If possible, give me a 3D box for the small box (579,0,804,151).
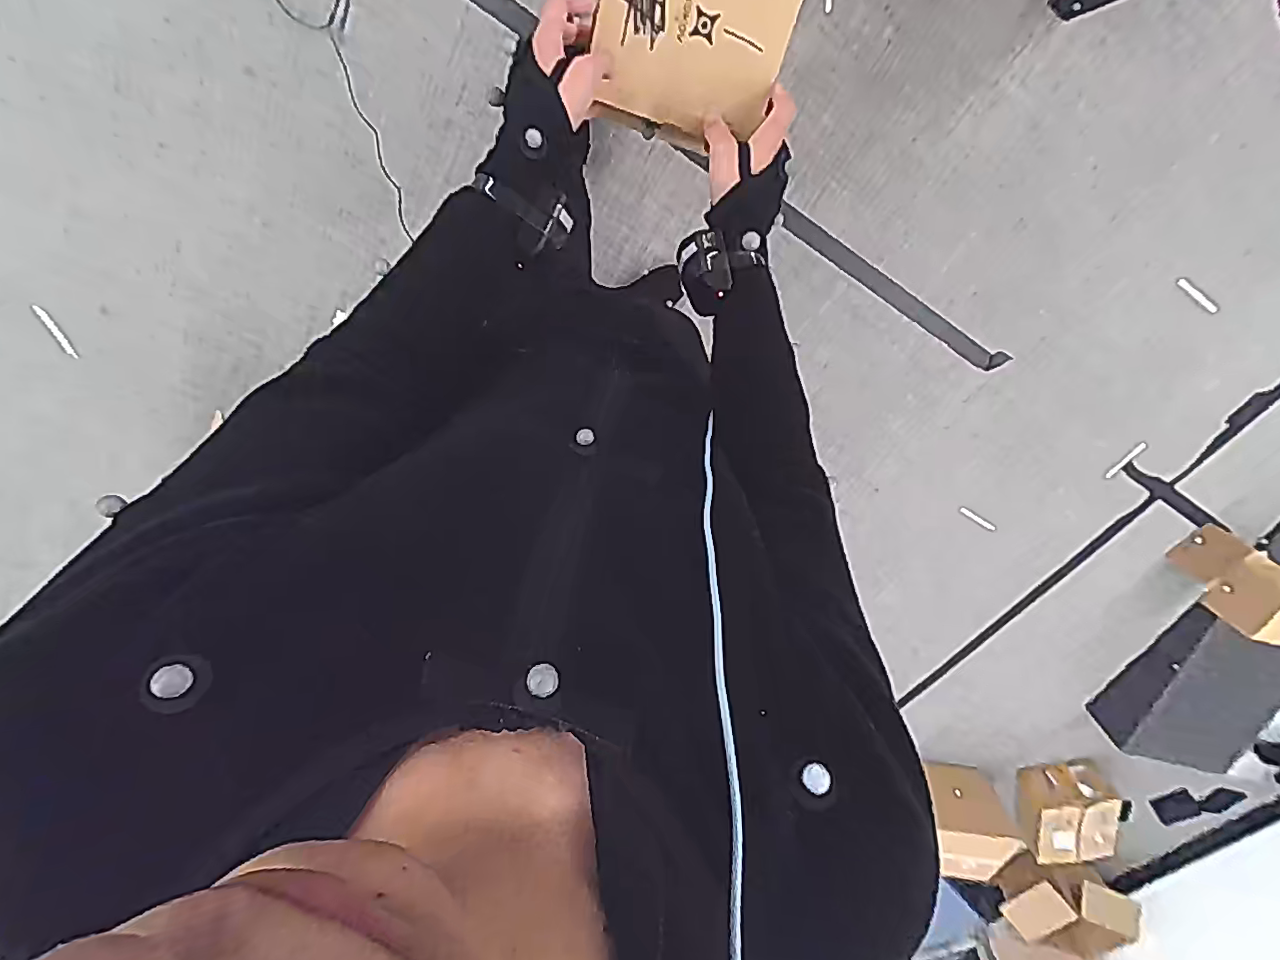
[{"bbox_3d":[0.041,-0.442,0.537,0.179,0.176,0.168,12,119,-14],"label":"small box"}]
